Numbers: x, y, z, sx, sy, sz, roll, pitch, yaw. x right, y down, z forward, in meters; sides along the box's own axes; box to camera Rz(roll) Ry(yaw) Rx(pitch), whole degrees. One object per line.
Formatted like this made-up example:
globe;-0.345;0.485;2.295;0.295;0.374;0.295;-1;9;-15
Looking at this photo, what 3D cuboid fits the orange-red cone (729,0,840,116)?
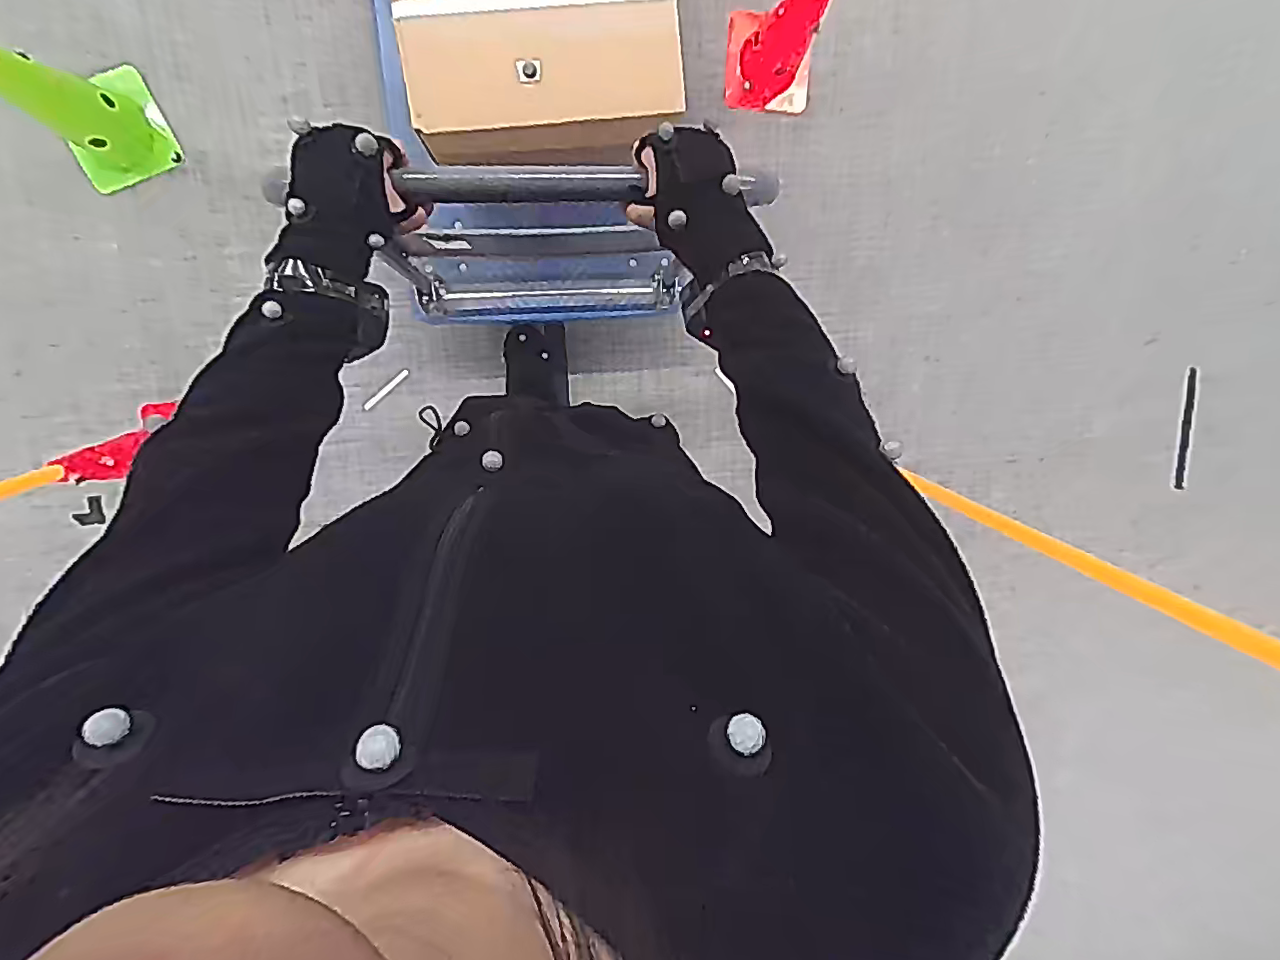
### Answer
orange-red cone;0.335;-0.934;1.098;0.199;0.360;0.198;2;102;-9
